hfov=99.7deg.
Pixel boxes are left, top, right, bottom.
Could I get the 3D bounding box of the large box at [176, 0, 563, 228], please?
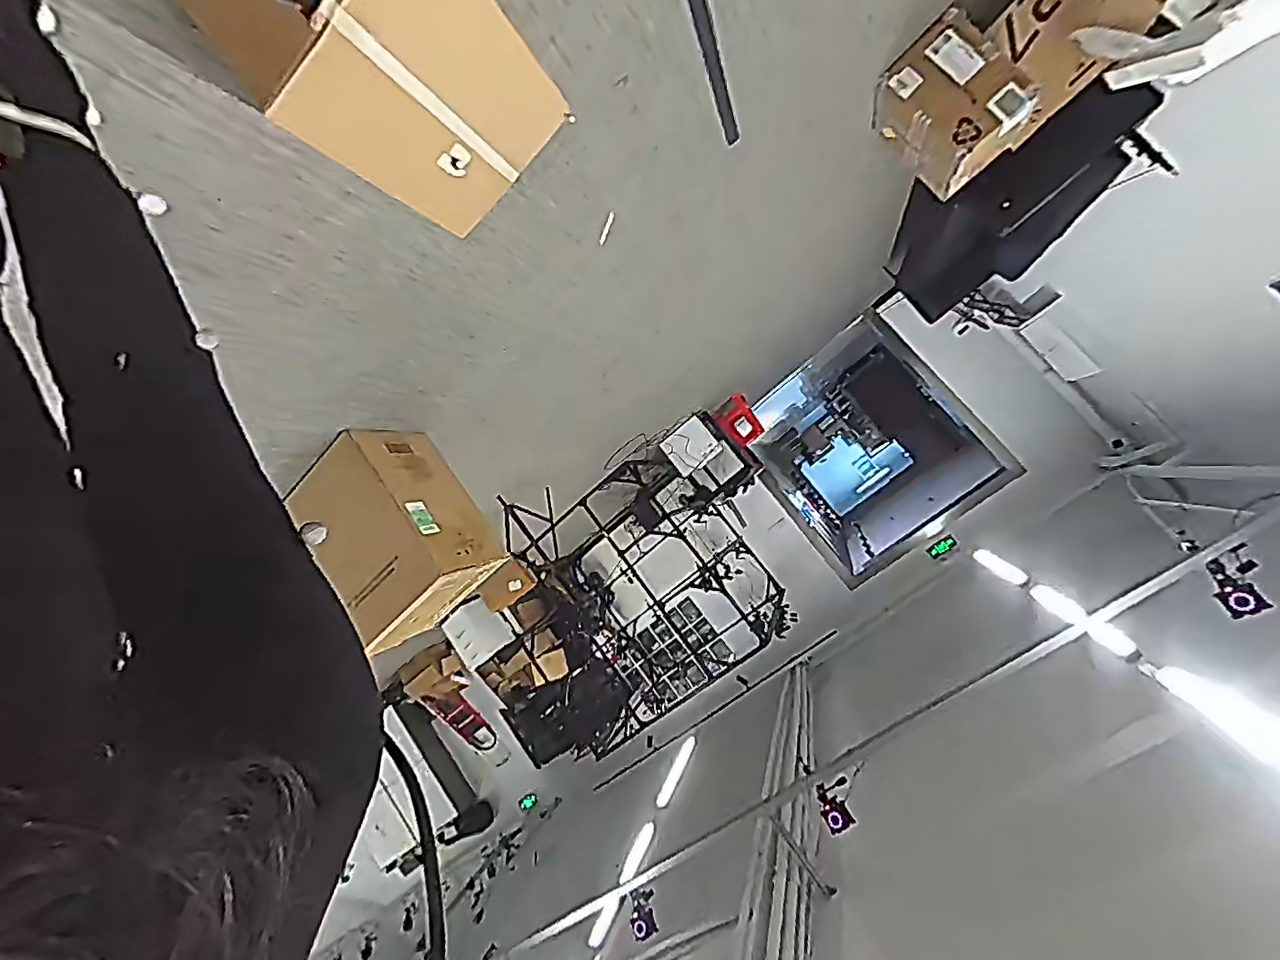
[{"bbox_3d":[-0.398,-0.681,0.834,0.320,0.320,0.408,-40,172,15],"label":"large box"}]
